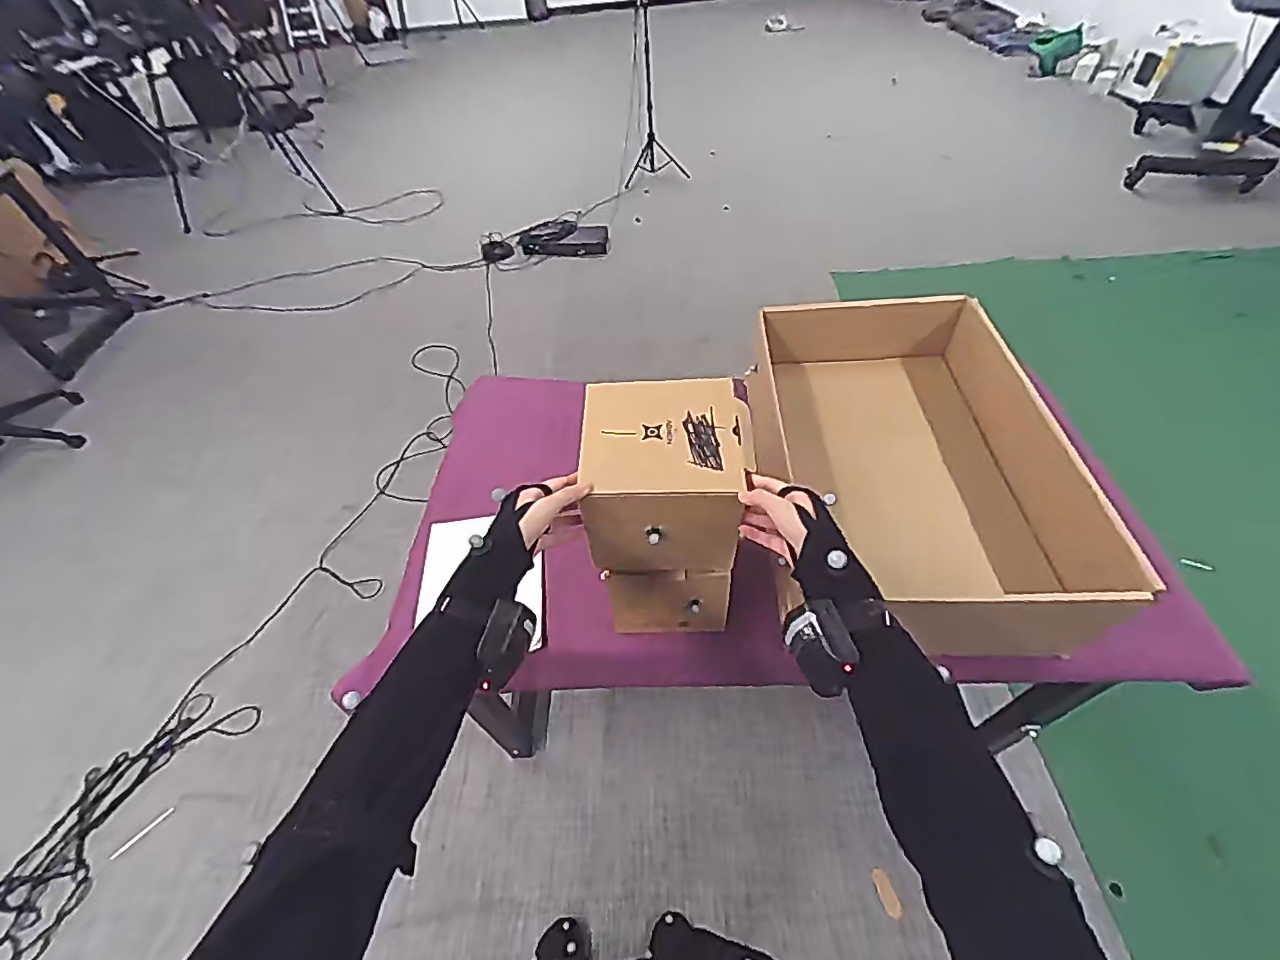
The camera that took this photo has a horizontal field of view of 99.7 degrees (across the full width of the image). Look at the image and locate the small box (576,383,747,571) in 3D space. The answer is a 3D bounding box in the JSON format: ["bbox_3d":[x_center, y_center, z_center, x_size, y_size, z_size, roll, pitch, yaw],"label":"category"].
[{"bbox_3d":[0.027,0.001,0.657,0.179,0.176,0.168,-1,52,3],"label":"small box"}]

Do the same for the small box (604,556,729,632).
[{"bbox_3d":[0.043,0.114,0.808,0.168,0.176,0.179,-1,48,4],"label":"small box"}]
